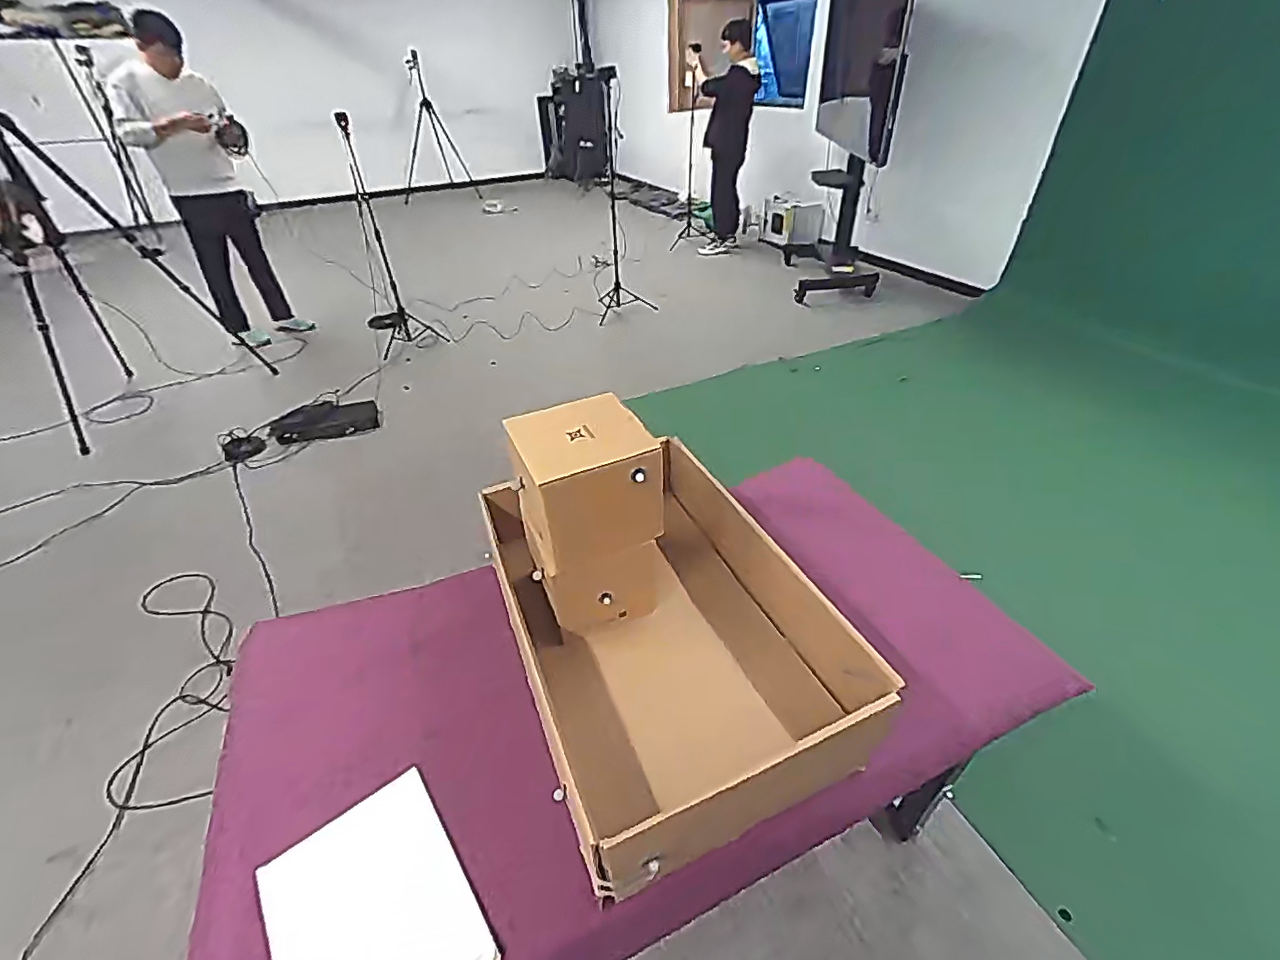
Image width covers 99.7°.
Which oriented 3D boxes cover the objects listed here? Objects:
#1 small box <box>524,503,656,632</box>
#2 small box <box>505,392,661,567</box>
[{"bbox_3d":[-0.079,0.125,0.891,0.168,0.176,0.179,-17,41,-17],"label":"small box"},{"bbox_3d":[-0.078,-0.001,0.789,0.179,0.176,0.168,-19,42,-19],"label":"small box"}]
